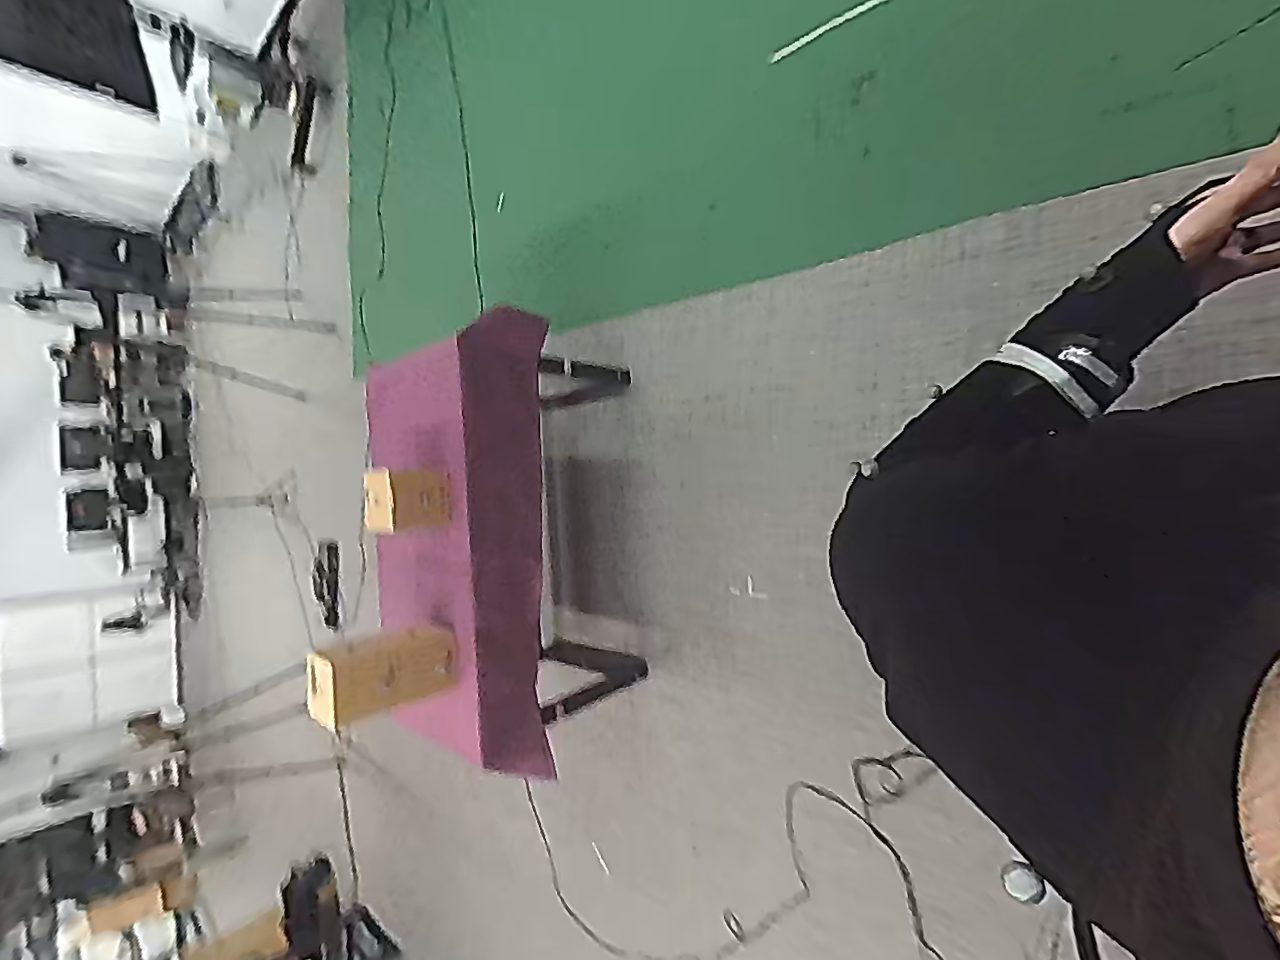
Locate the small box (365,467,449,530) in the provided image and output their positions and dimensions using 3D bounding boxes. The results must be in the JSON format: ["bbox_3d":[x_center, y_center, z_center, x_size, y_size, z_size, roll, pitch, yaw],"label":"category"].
[{"bbox_3d":[-0.662,0.049,1.548,0.179,0.176,0.168,-2,91,41],"label":"small box"}]

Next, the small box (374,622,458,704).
[{"bbox_3d":[-0.643,0.515,1.550,0.179,0.176,0.168,0,92,40],"label":"small box"}]
